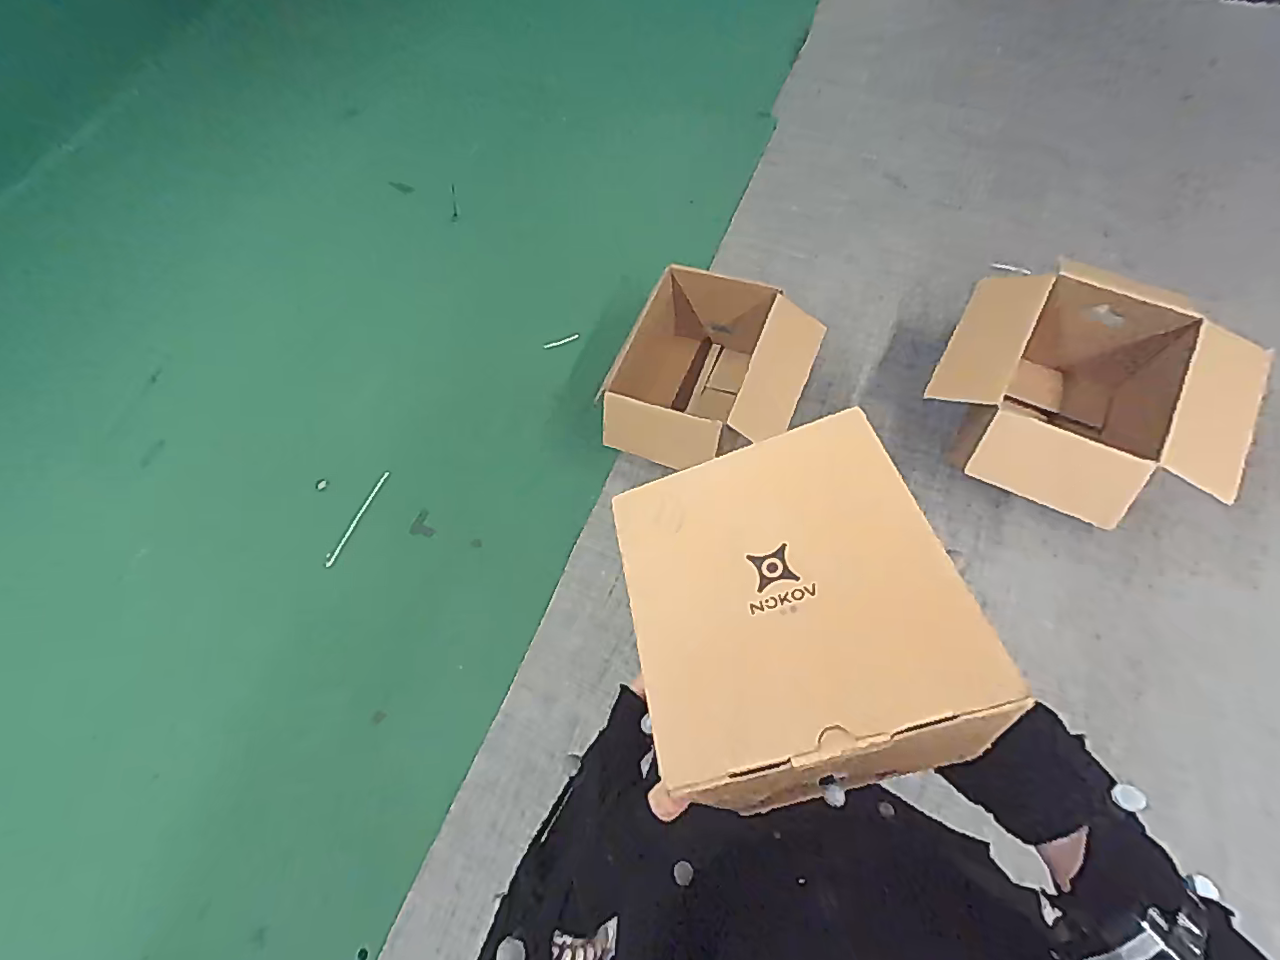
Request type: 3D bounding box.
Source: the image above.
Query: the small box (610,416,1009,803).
[{"bbox_3d":[0.096,0.095,0.358,0.168,0.176,0.179,-21,53,10],"label":"small box"}]
